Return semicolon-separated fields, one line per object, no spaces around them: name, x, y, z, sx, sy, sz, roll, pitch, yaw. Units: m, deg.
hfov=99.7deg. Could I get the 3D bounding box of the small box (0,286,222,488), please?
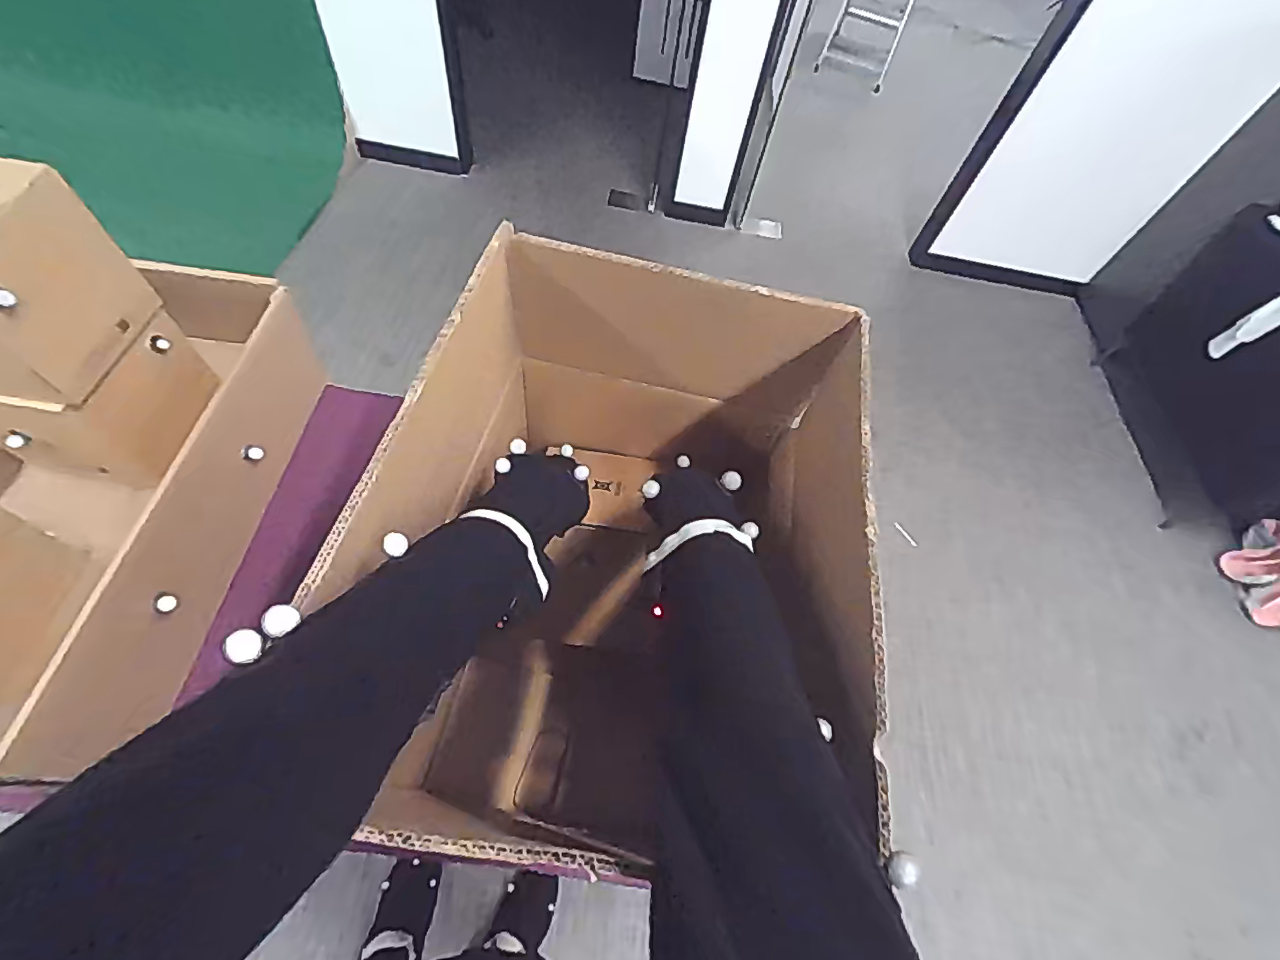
small box;-0.687;-0.110;0.684;0.168;0.176;0.179;10;58;-2
